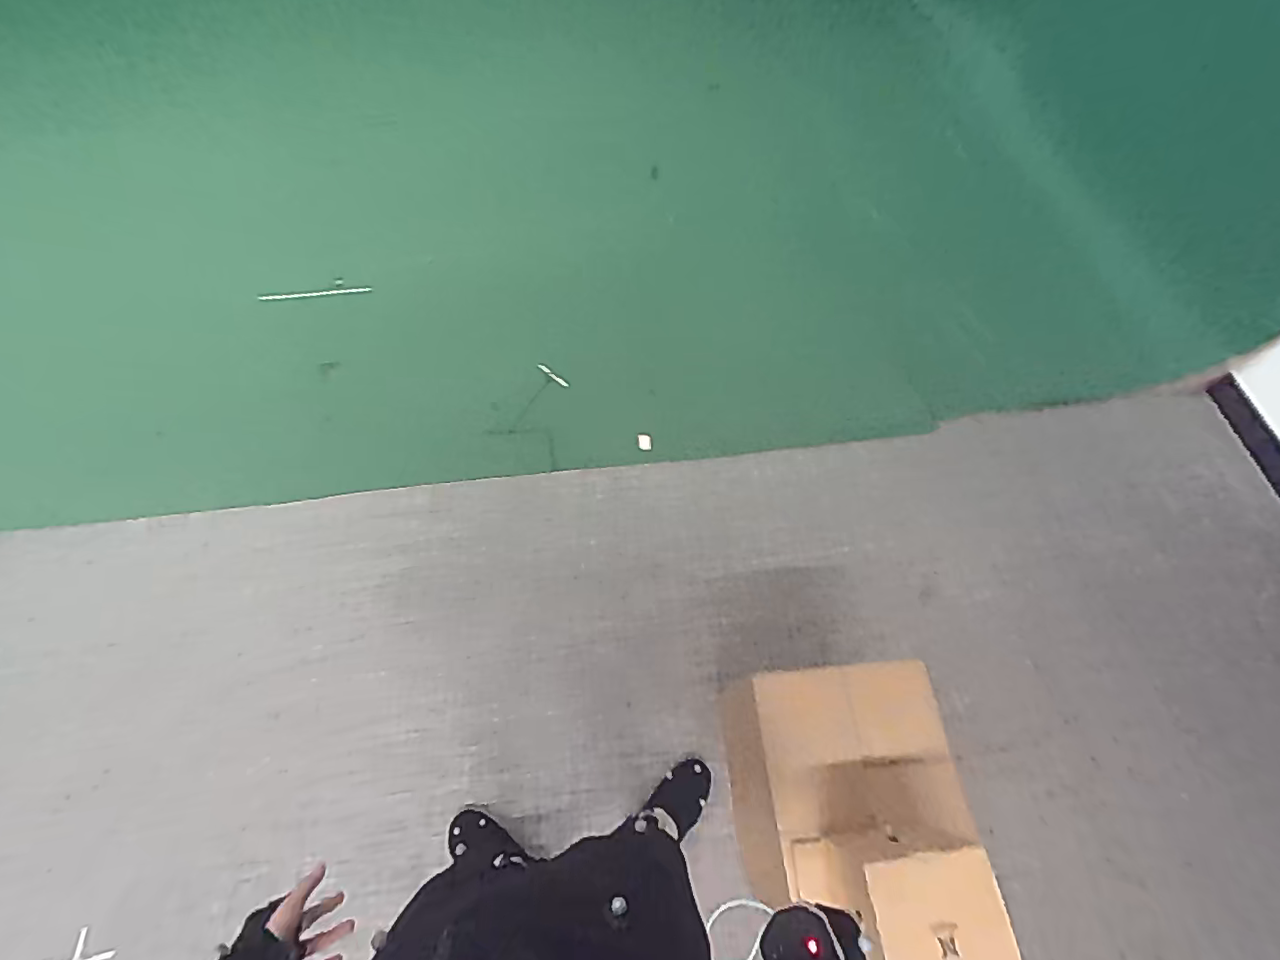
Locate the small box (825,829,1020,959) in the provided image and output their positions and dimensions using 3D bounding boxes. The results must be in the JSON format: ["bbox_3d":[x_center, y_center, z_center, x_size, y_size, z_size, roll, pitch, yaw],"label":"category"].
[{"bbox_3d":[0.367,0.583,0.725,0.168,0.176,0.179,-5,65,-2],"label":"small box"}]
